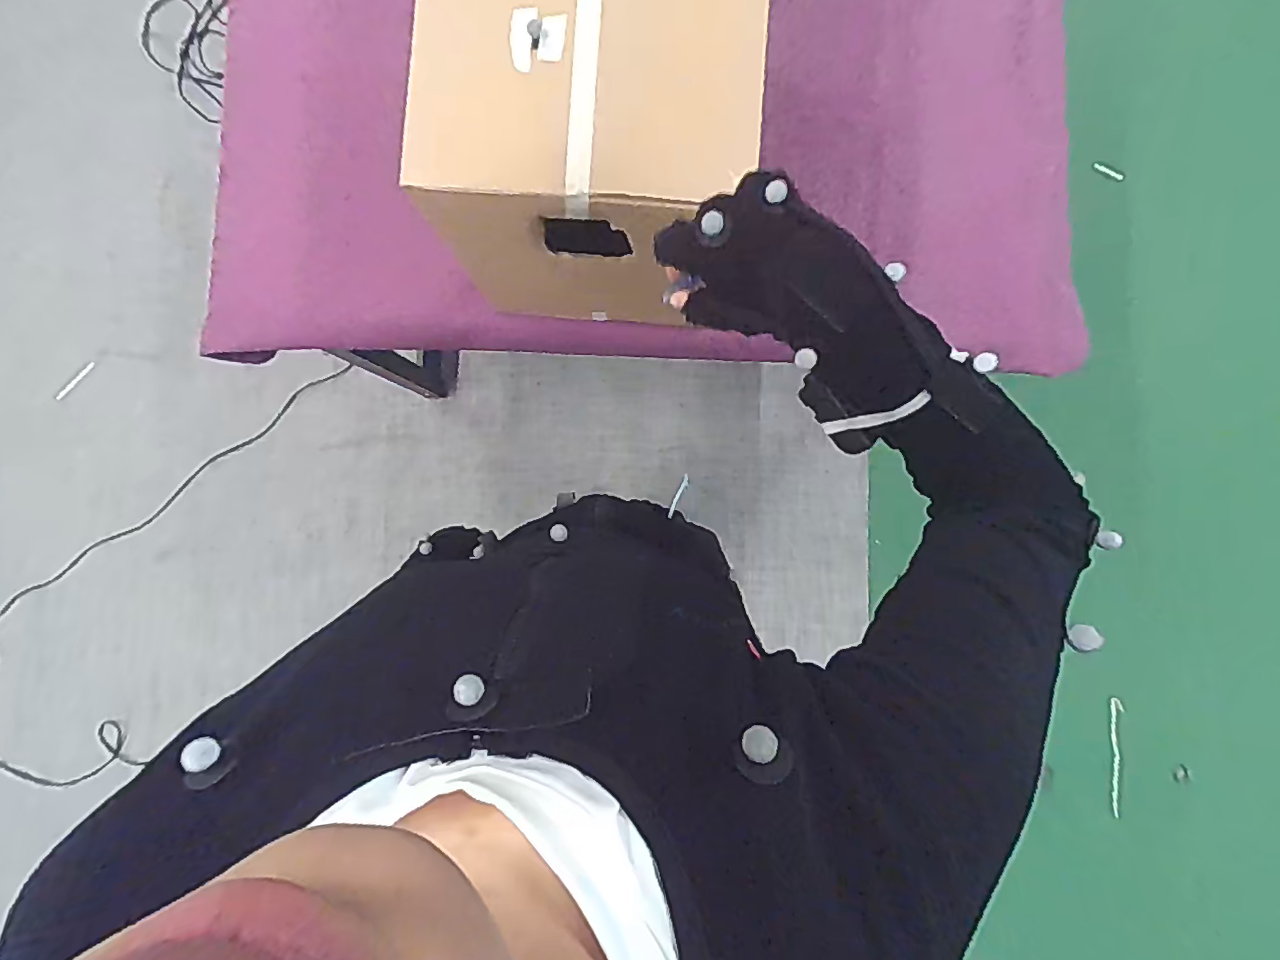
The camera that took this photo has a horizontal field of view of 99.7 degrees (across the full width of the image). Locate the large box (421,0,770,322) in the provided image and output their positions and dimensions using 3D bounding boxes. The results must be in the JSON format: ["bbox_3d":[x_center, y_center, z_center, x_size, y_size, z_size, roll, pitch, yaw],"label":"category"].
[{"bbox_3d":[-0.037,-0.443,0.643,0.320,0.320,0.408,4,88,0],"label":"large box"}]
